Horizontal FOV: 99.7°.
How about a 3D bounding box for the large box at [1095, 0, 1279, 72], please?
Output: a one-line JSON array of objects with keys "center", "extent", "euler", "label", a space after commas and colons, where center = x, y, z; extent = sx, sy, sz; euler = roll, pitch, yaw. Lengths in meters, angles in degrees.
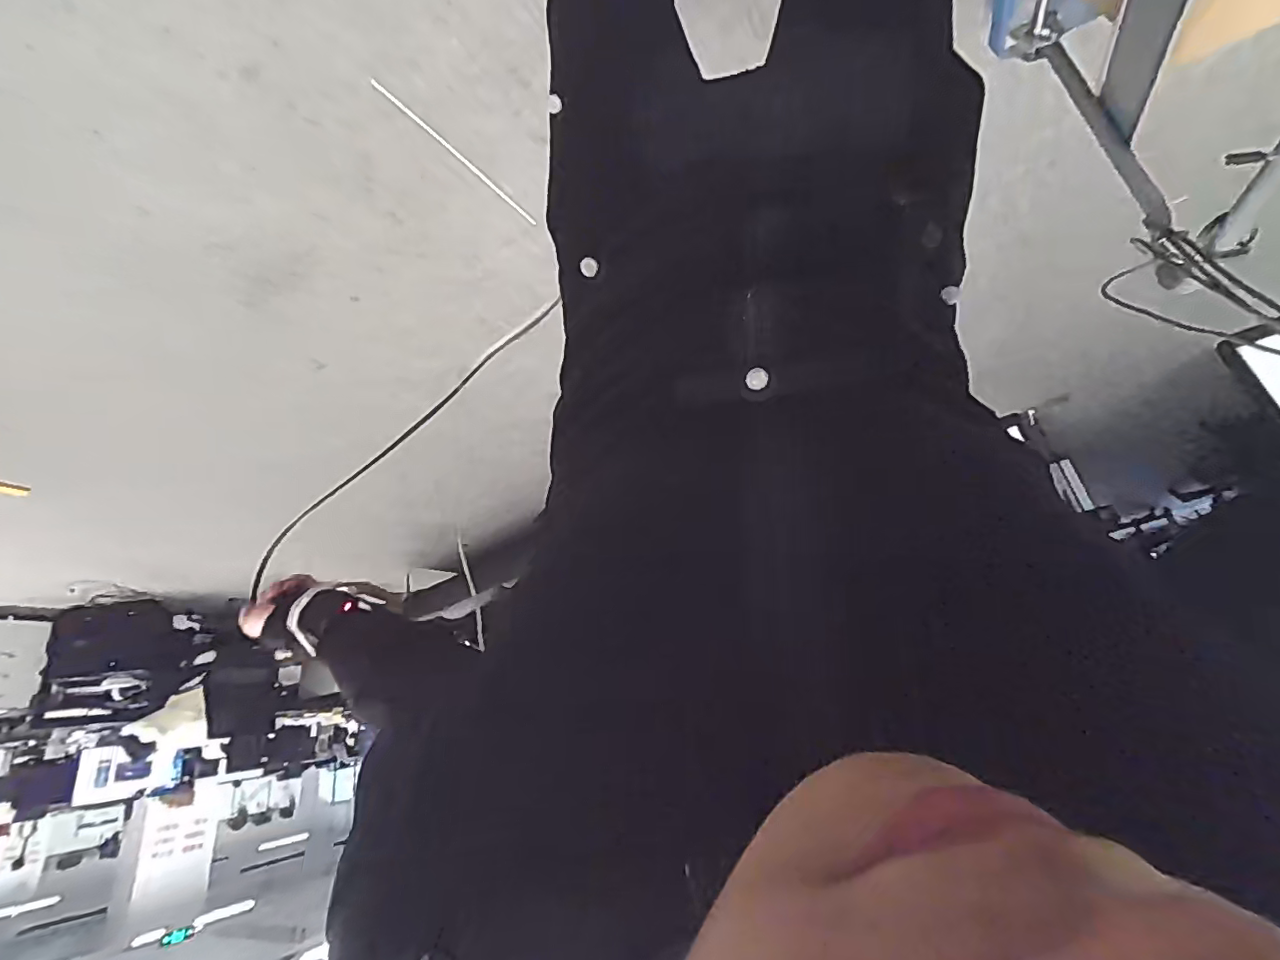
[{"center": [0.930, -0.898, 0.742], "extent": [0.408, 0.320, 0.320], "euler": [-19, 155, 19], "label": "large box"}]
